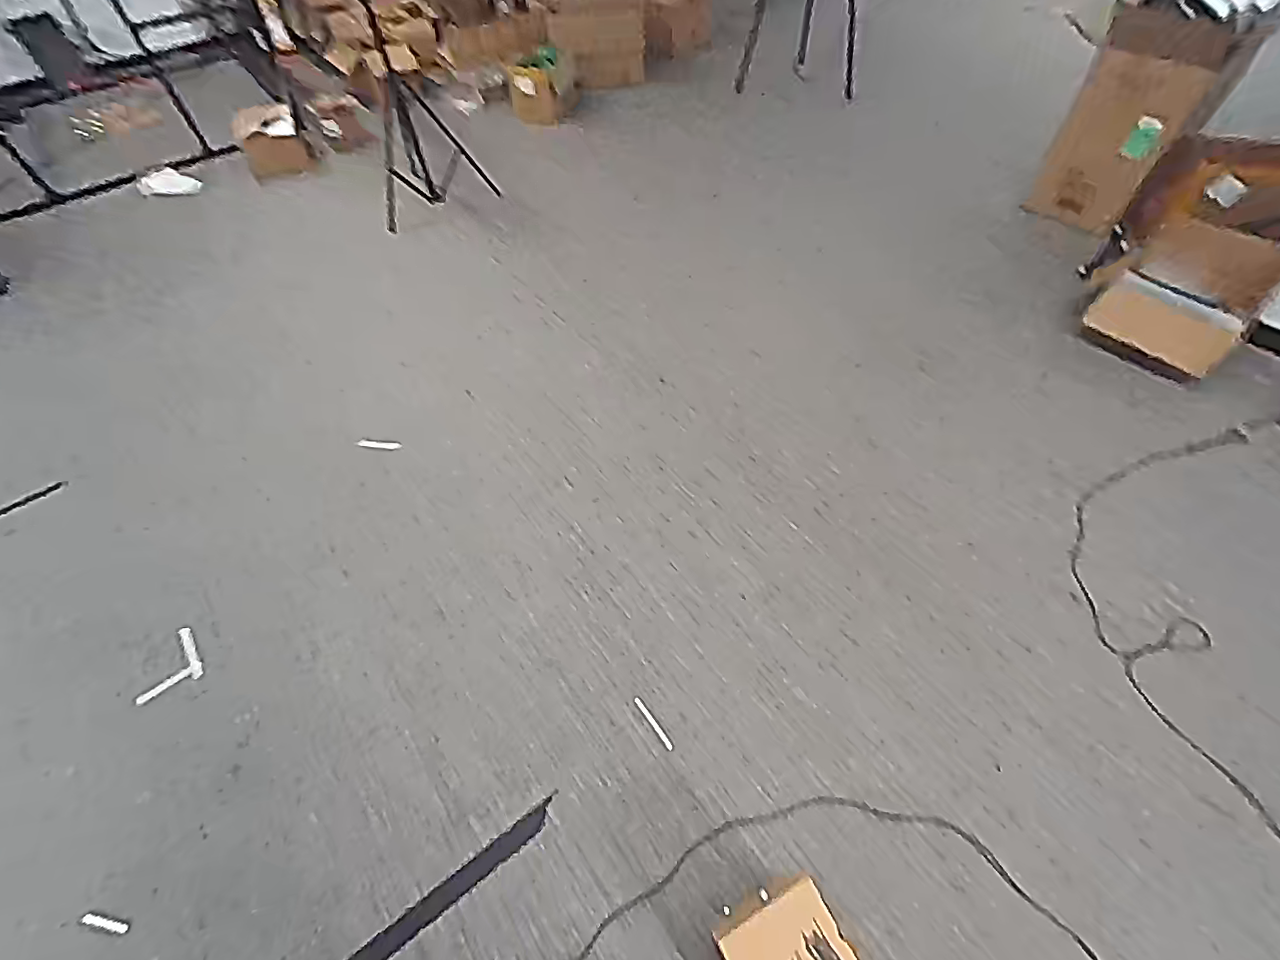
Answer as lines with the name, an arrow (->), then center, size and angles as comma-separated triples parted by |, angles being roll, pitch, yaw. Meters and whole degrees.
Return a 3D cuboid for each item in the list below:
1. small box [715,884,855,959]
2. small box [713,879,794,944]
small box -> 0.234, 0.777, 0.861 | 0.179, 0.176, 0.168 | -25, 56, -14
small box -> 0.247, 0.874, 0.993 | 0.179, 0.176, 0.168 | -26, 57, -16
